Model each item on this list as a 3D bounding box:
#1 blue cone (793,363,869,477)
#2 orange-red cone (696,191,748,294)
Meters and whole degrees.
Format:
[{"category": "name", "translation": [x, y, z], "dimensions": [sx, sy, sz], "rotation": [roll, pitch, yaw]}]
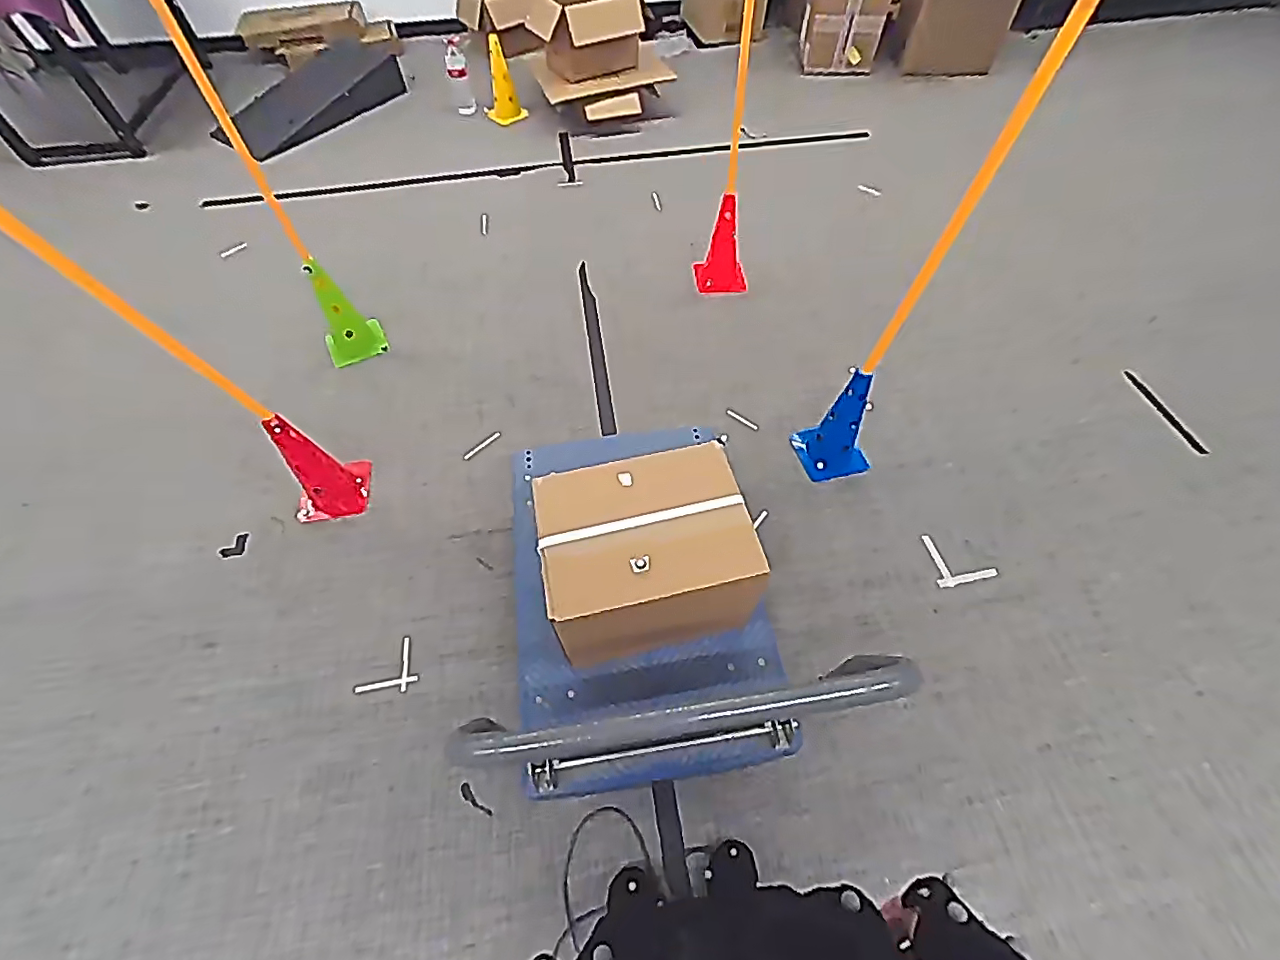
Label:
[{"category": "blue cone", "translation": [0.602, -0.189, 1.596], "dimensions": [0.193, 0.380, 0.192], "rotation": [-11, 56, -7]}, {"category": "orange-red cone", "translation": [0.331, -0.921, 2.065], "dimensions": [0.199, 0.360, 0.198], "rotation": [-2, 57, -2]}]
